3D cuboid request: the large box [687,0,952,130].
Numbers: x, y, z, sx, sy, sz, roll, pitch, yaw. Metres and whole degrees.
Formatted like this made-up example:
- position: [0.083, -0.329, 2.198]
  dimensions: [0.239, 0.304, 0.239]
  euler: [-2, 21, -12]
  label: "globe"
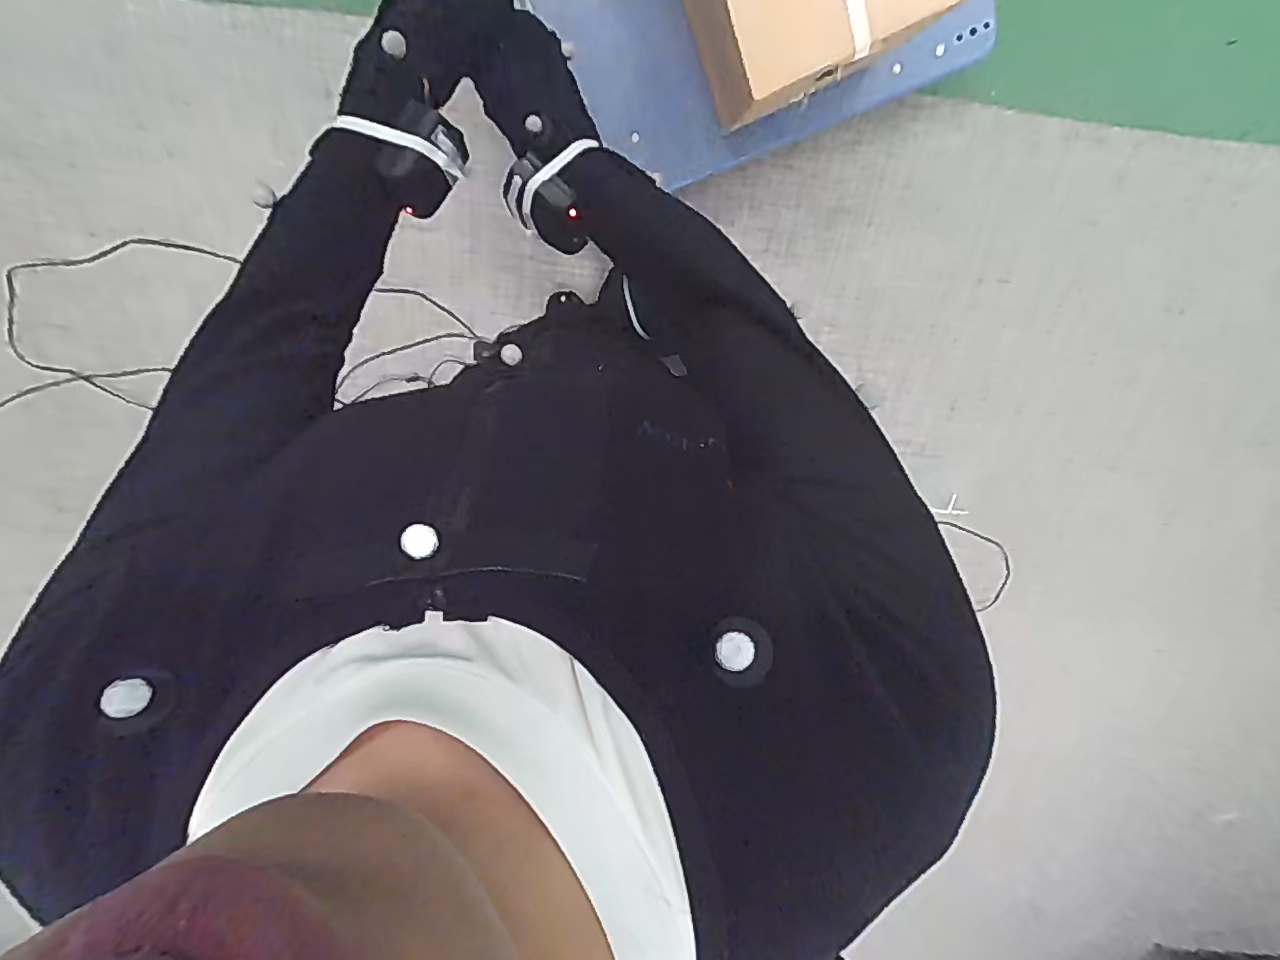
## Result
- position: [0.229, -0.835, 0.818]
  dimensions: [0.320, 0.320, 0.408]
  euler: [-21, 113, 9]
  label: "large box"
